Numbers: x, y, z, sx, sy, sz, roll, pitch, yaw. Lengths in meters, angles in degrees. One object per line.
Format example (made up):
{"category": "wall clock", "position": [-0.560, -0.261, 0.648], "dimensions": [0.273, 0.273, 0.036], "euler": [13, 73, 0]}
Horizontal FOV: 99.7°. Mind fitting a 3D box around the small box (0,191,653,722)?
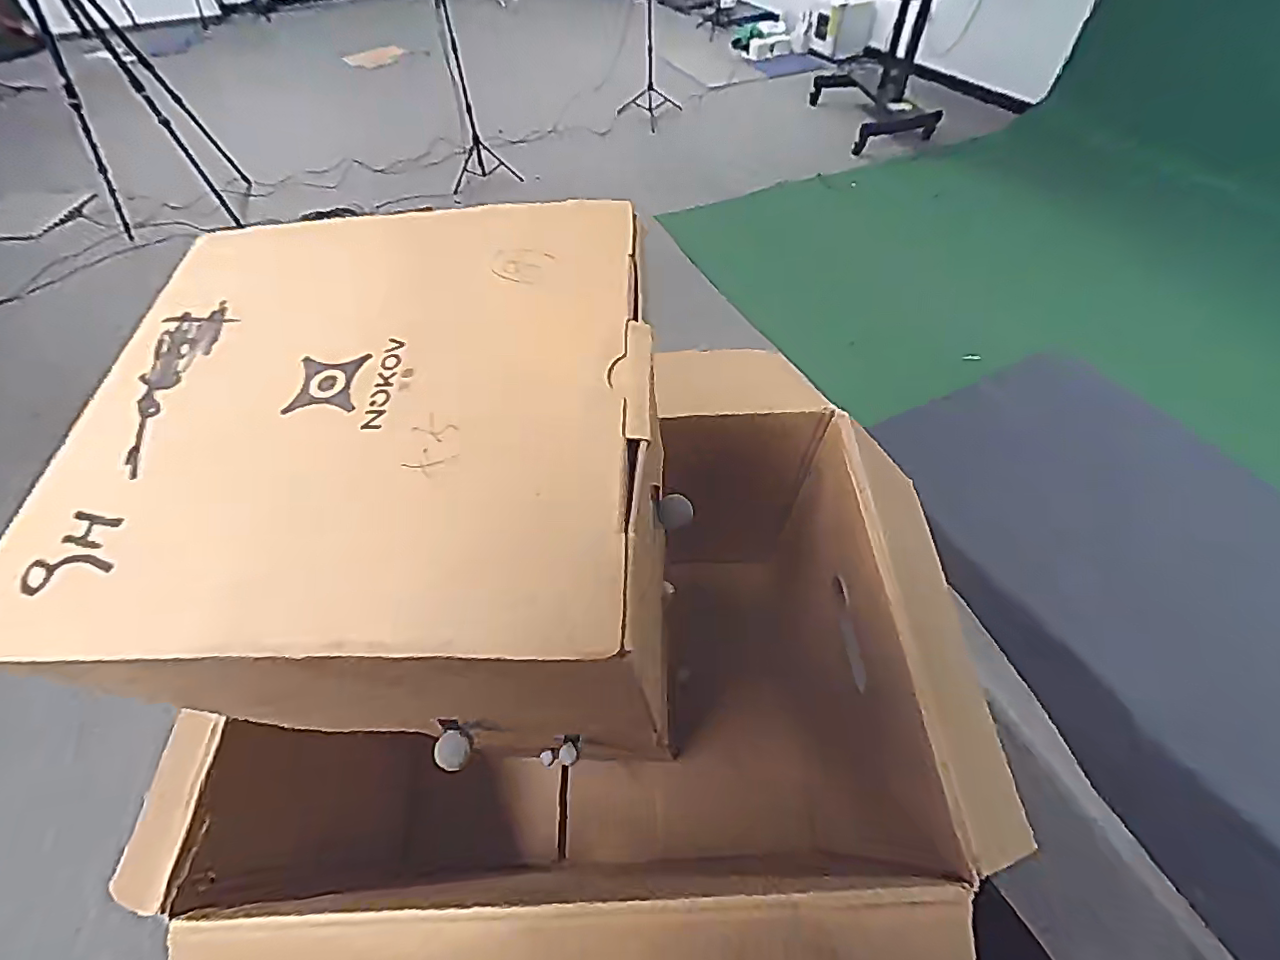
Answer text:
{"category": "small box", "position": [-0.084, 0.006, 0.234], "dimensions": [0.179, 0.176, 0.168], "euler": [-1, 60, 4]}
